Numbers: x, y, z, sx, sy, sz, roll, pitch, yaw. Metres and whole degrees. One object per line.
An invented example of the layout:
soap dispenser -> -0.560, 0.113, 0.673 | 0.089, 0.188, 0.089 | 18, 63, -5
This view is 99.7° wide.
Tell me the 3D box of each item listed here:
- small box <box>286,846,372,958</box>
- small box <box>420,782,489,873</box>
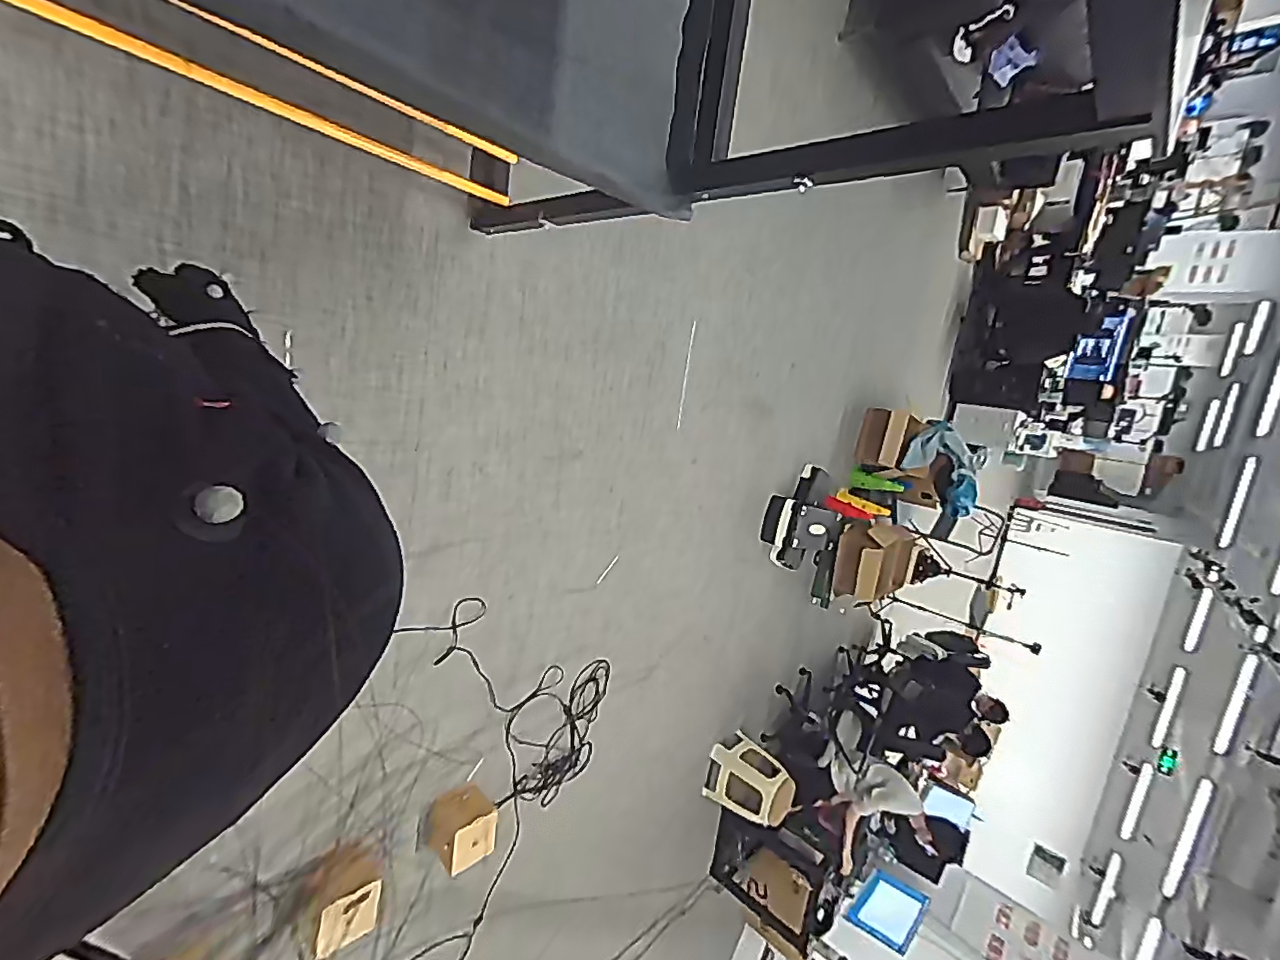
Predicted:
small box -> -0.924, 1.232, 1.603 | 0.168, 0.176, 0.179 | 5, 100, -50
small box -> -0.657, 1.216, 1.905 | 0.168, 0.176, 0.179 | -3, 105, -49
